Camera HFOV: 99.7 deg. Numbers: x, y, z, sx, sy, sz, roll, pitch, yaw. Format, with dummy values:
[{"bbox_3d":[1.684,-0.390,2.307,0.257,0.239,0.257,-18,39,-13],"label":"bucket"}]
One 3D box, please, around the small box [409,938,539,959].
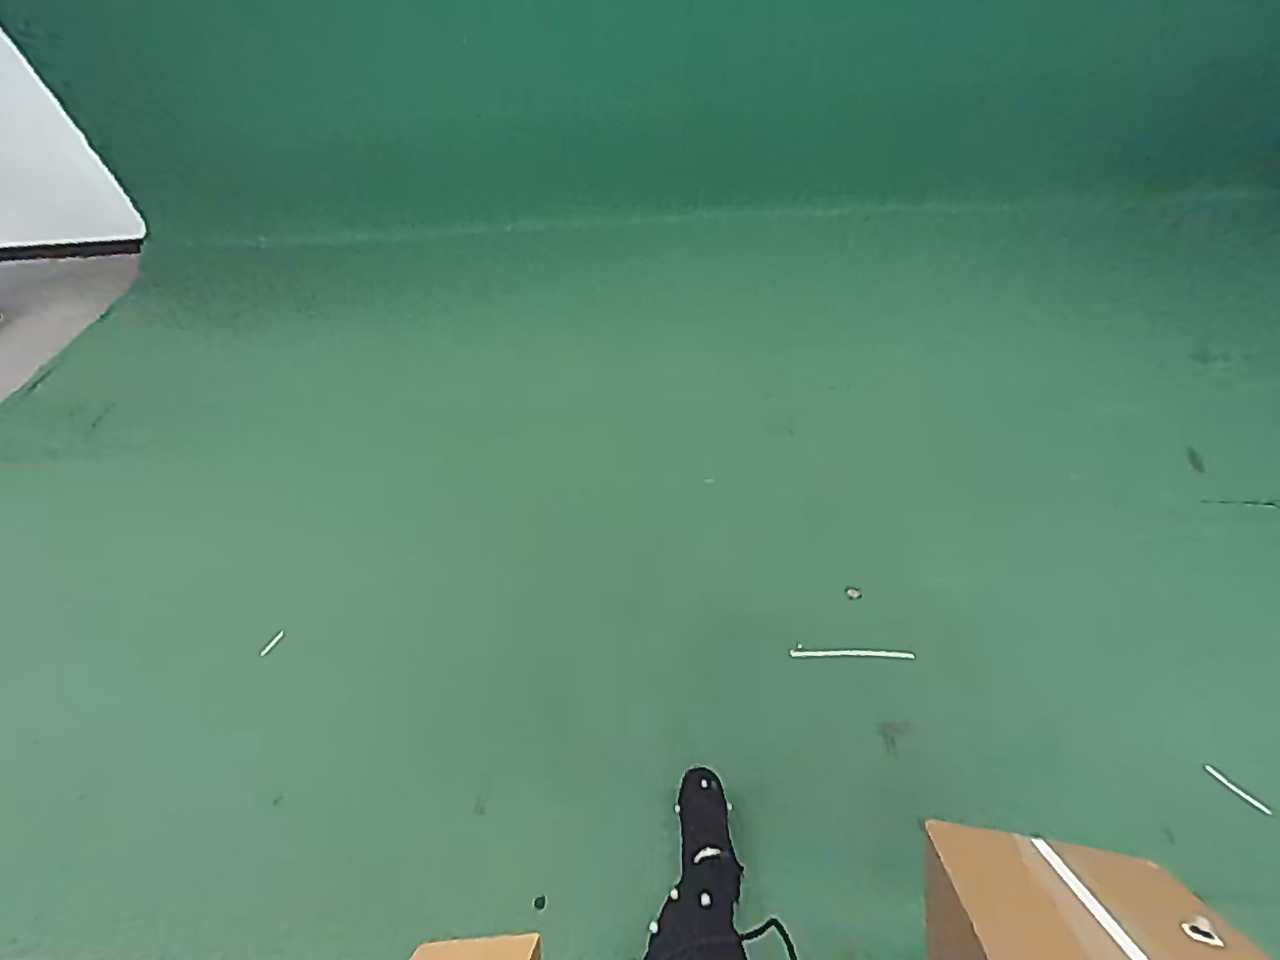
[{"bbox_3d":[-0.217,0.685,0.628,0.168,0.179,0.176,-6,78,2],"label":"small box"}]
